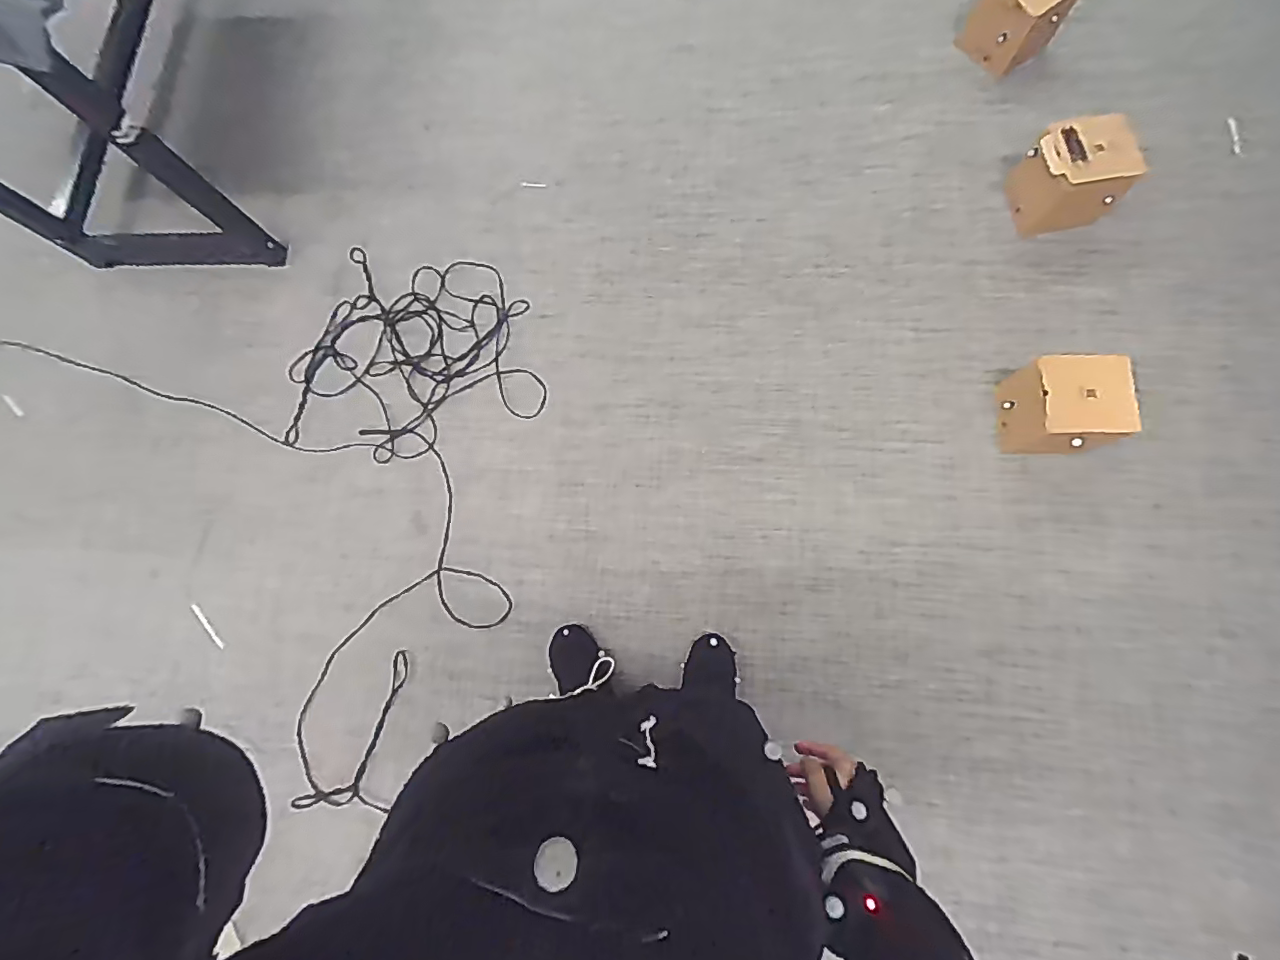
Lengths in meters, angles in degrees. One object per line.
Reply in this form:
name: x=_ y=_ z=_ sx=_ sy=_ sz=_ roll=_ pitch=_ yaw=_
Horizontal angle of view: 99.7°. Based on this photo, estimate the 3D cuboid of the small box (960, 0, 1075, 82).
small box: x=0.961 y=-1.179 z=1.382 sx=0.179 sy=0.176 sz=0.168 roll=-36 pitch=78 yaw=-5

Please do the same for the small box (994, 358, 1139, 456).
small box: x=0.903 y=-0.151 z=1.159 sx=0.179 sy=0.176 sz=0.168 roll=0 pitch=78 yaw=5
